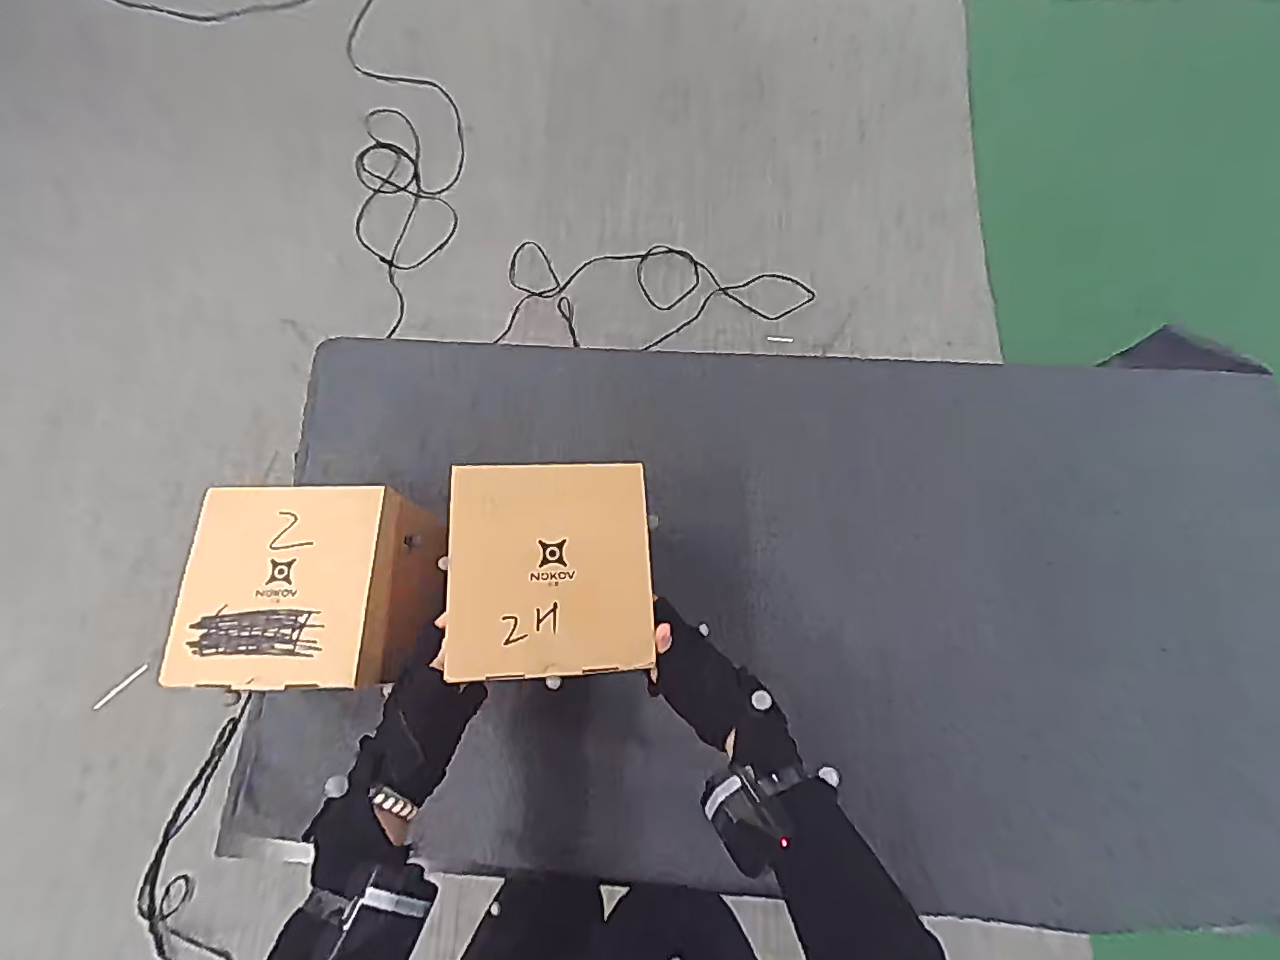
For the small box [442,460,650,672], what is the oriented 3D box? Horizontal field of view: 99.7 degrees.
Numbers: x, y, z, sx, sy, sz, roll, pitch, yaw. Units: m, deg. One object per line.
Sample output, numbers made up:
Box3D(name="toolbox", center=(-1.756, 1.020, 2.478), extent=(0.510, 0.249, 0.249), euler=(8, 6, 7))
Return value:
Box3D(name="small box", center=(-0.086, 0.091, 0.528), extent=(0.168, 0.176, 0.179), euler=(-1, 72, -8))
